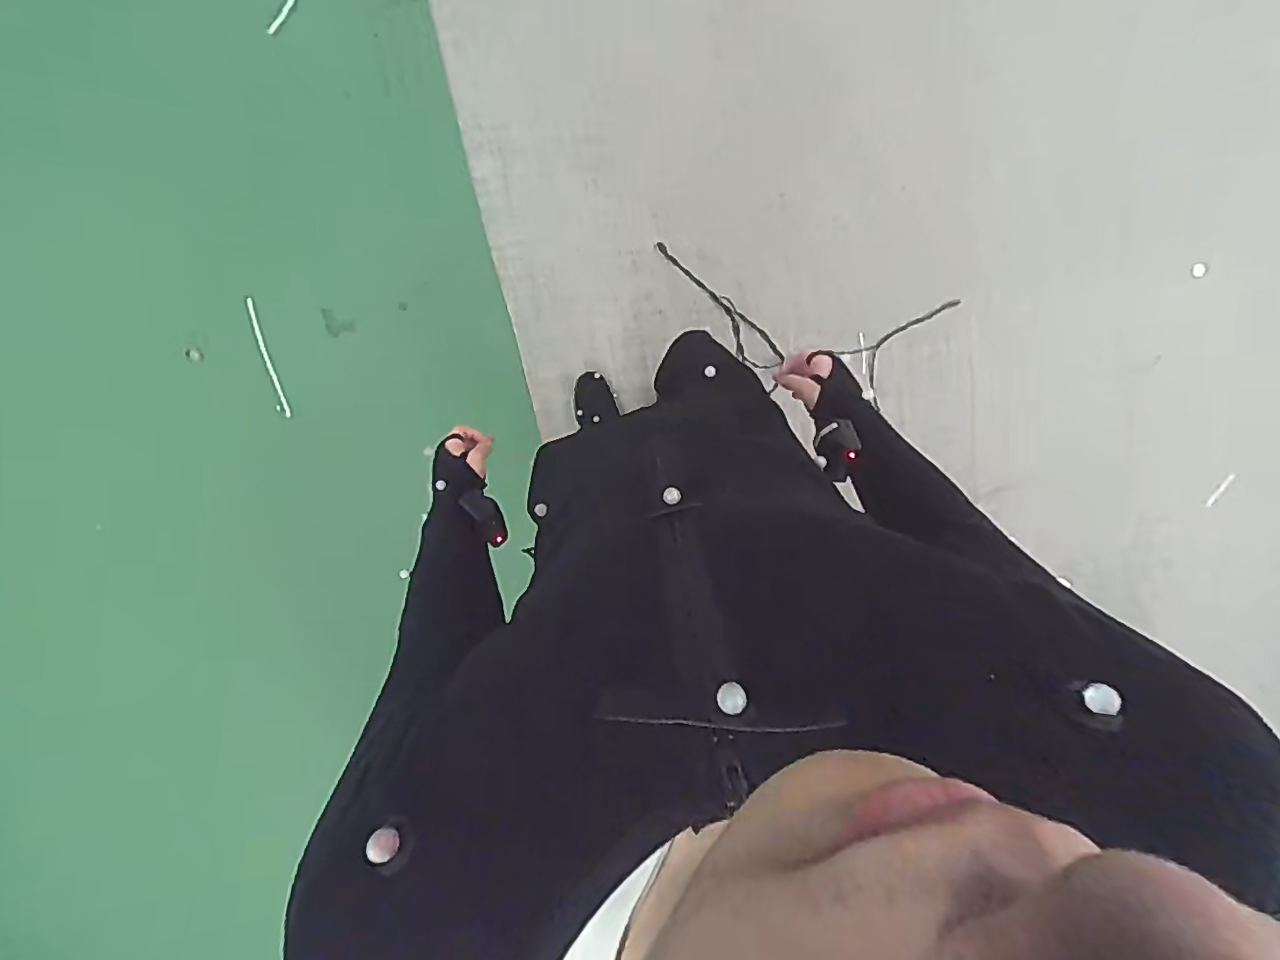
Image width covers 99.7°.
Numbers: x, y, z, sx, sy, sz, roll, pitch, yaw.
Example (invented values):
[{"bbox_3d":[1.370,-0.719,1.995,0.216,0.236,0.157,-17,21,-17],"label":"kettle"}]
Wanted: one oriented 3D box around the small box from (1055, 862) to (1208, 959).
[{"bbox_3d":[0.982,0.918,1.092,0.168,0.176,0.179,-17,104,-1],"label":"small box"}]
